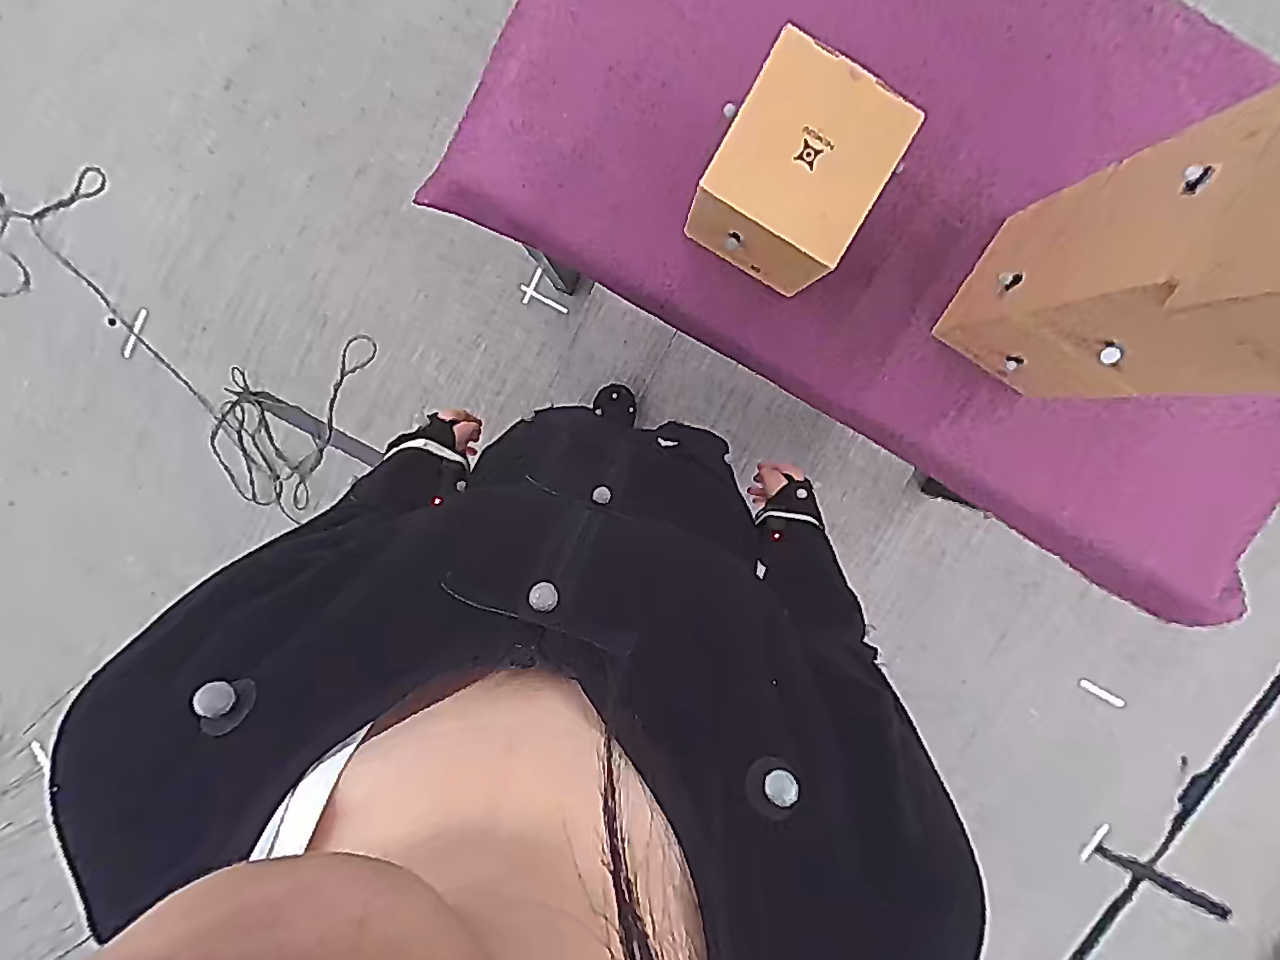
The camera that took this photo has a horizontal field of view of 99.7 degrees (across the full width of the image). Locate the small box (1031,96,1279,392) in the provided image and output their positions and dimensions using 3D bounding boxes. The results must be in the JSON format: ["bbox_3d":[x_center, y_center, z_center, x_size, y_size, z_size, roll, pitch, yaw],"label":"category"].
[{"bbox_3d":[0.508,-0.194,0.480,0.168,0.176,0.179,31,97,-4],"label":"small box"}]

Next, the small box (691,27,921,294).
[{"bbox_3d":[0.170,-0.341,0.623,0.168,0.176,0.179,29,96,-5],"label":"small box"}]

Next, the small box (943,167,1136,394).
[{"bbox_3d":[0.503,-0.216,0.643,0.168,0.176,0.179,31,96,-5],"label":"small box"}]
